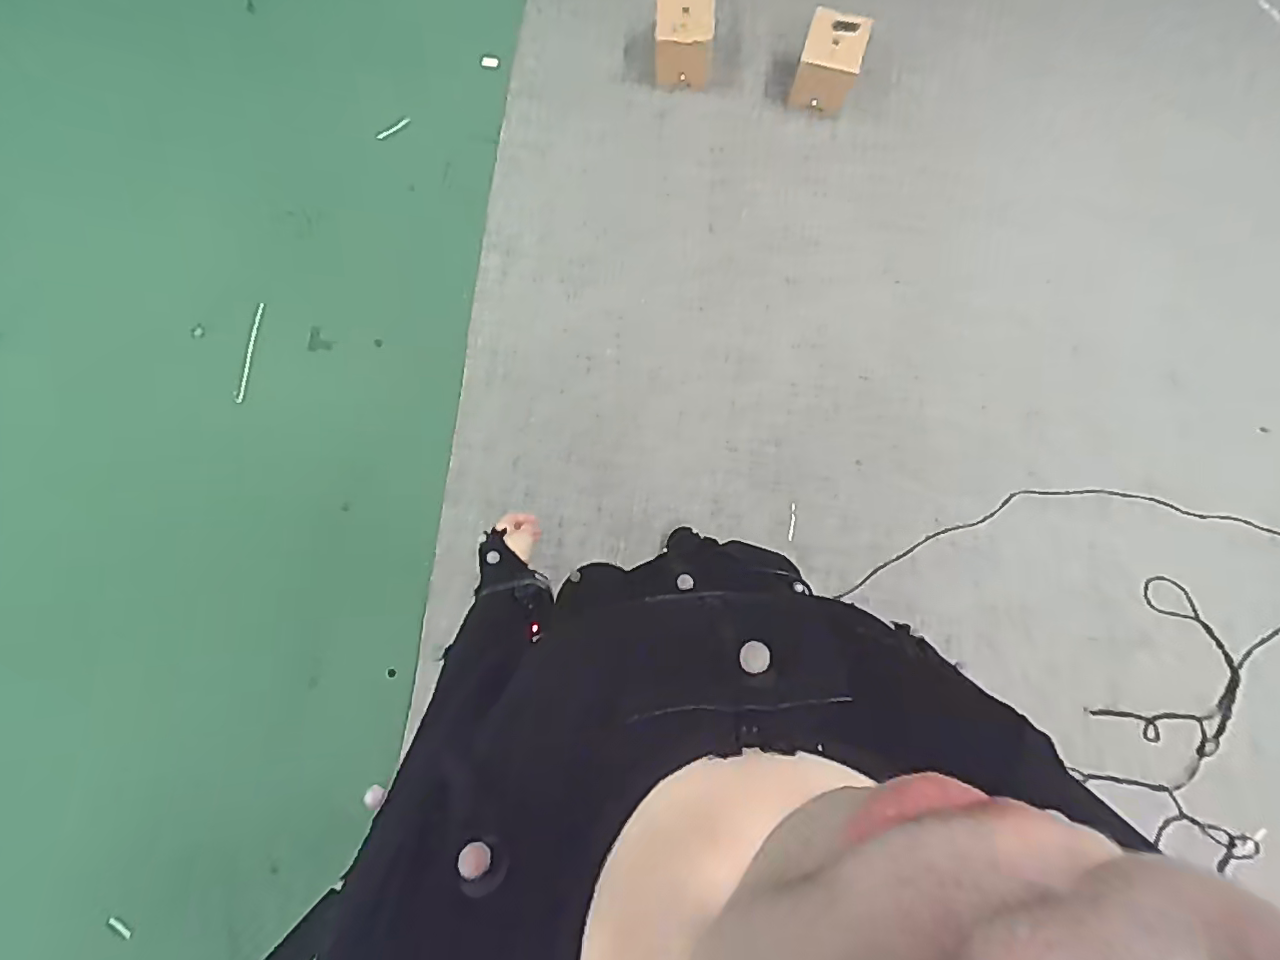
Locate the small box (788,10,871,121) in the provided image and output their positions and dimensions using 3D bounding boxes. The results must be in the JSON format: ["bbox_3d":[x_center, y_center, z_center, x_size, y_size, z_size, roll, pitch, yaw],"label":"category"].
[{"bbox_3d":[0.545,-1.202,1.576,0.168,0.176,0.179,16,84,4],"label":"small box"}]

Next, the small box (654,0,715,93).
[{"bbox_3d":[0.128,-1.297,1.601,0.168,0.176,0.179,2,83,2],"label":"small box"}]
